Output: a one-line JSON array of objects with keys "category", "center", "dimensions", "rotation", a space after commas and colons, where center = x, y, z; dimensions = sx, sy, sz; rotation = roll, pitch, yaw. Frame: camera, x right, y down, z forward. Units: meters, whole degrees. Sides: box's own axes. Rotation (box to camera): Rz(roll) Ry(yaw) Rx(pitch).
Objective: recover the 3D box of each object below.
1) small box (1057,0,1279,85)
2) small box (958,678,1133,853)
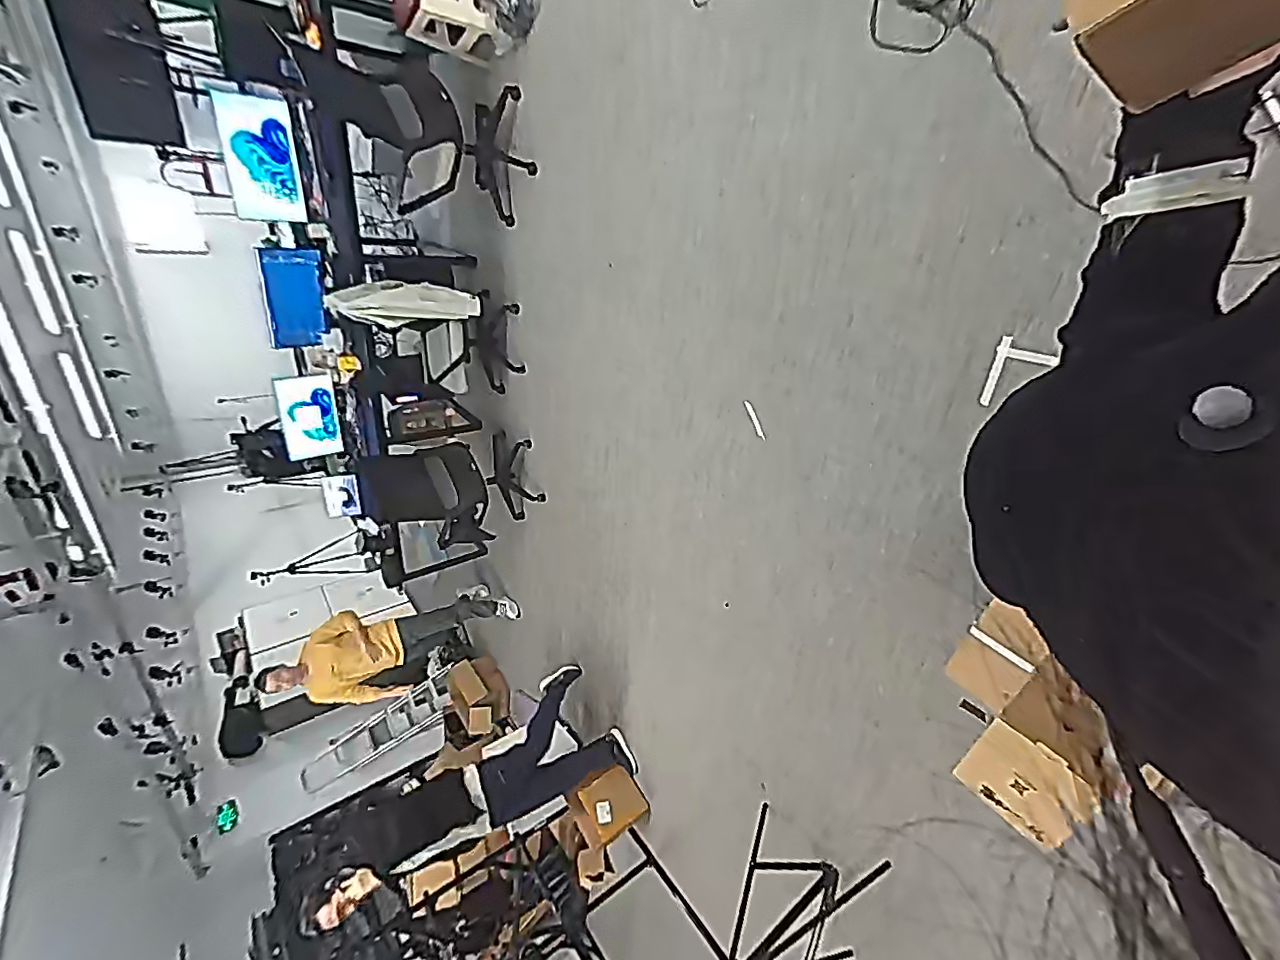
[{"category": "small box", "center": [0.280, -0.309, 0.227], "dimensions": [0.168, 0.176, 0.179], "rotation": [-14, 92, 50]}, {"category": "small box", "center": [0.698, 0.478, 0.930], "dimensions": [0.168, 0.176, 0.179], "rotation": [40, 131, 39]}]
